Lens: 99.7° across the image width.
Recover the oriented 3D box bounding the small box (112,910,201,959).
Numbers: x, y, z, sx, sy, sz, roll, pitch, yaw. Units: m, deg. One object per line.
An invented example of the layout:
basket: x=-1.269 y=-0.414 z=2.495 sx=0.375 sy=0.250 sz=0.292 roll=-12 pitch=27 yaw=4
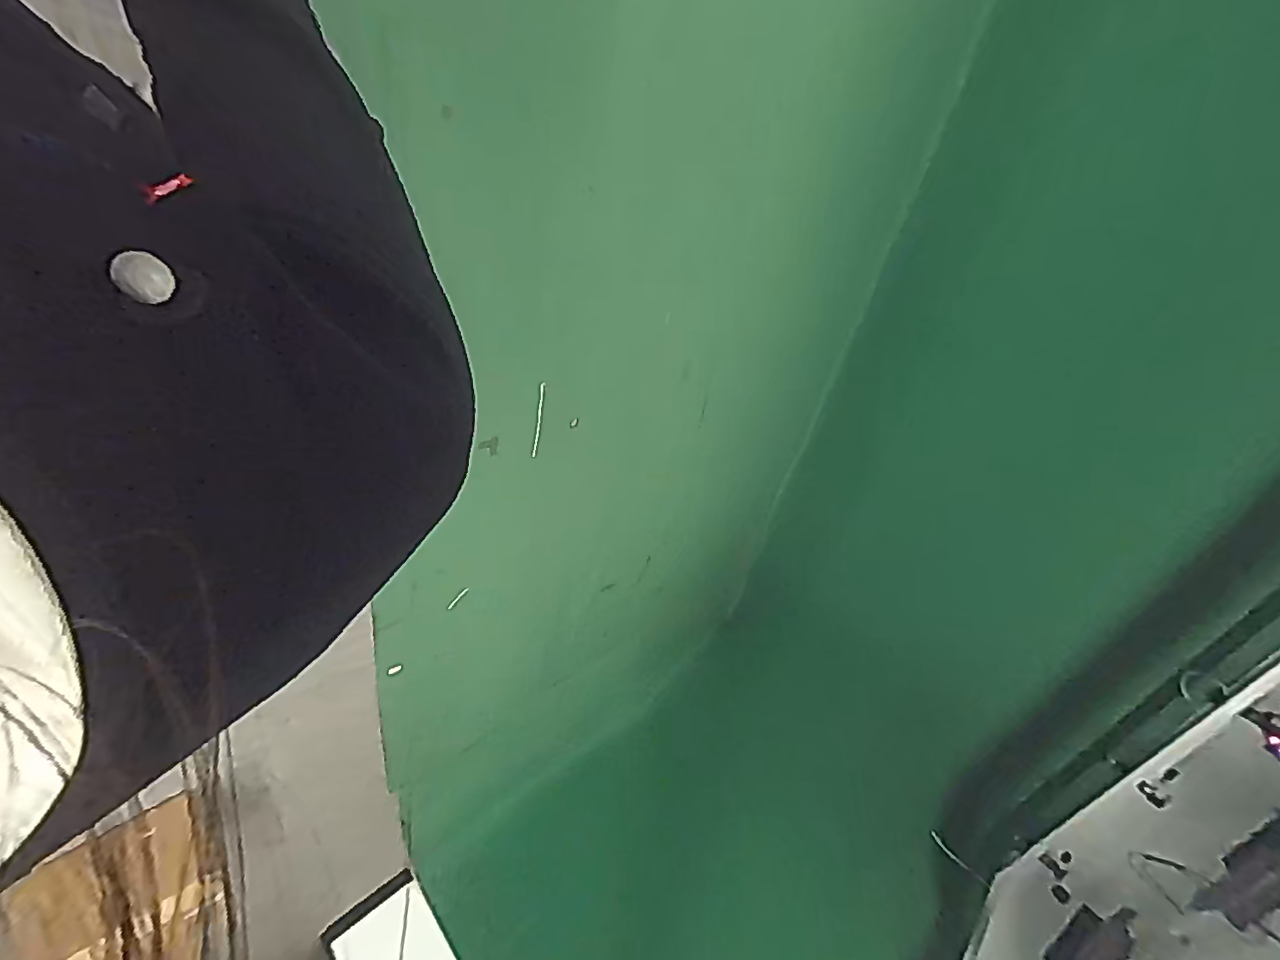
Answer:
small box: x=-1.388 y=1.412 z=1.557 sx=0.179 sy=0.176 sz=0.168 roll=-16 pitch=129 yaw=-46
